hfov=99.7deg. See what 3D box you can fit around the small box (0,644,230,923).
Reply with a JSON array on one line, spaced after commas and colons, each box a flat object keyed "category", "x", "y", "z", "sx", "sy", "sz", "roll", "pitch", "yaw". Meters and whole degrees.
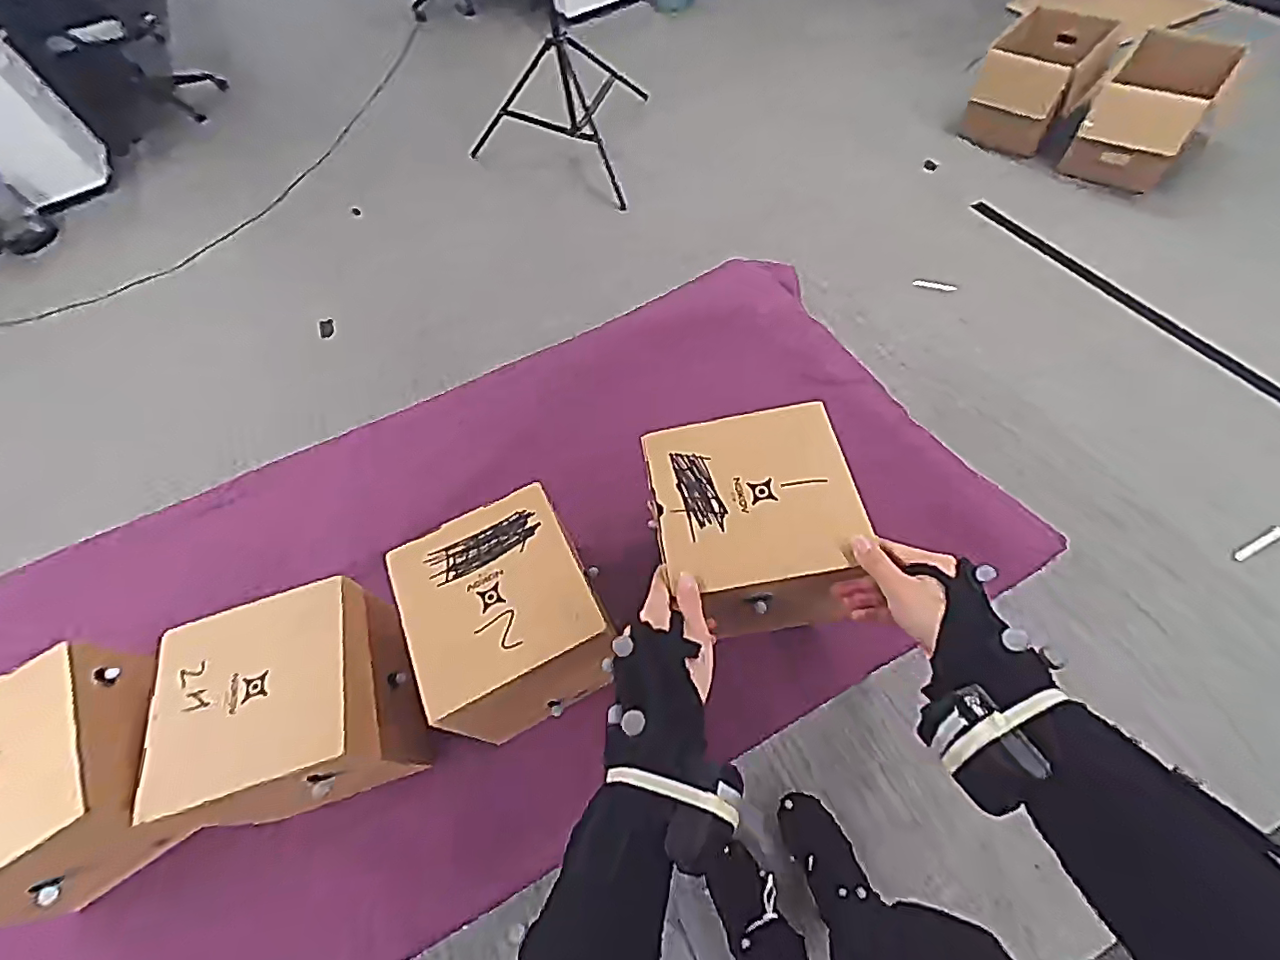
[{"category": "small box", "x": -0.554, "y": 0.296, "z": 0.534, "sx": 0.168, "sy": 0.176, "sz": 0.179, "roll": -34, "pitch": 62, "yaw": -12}]
